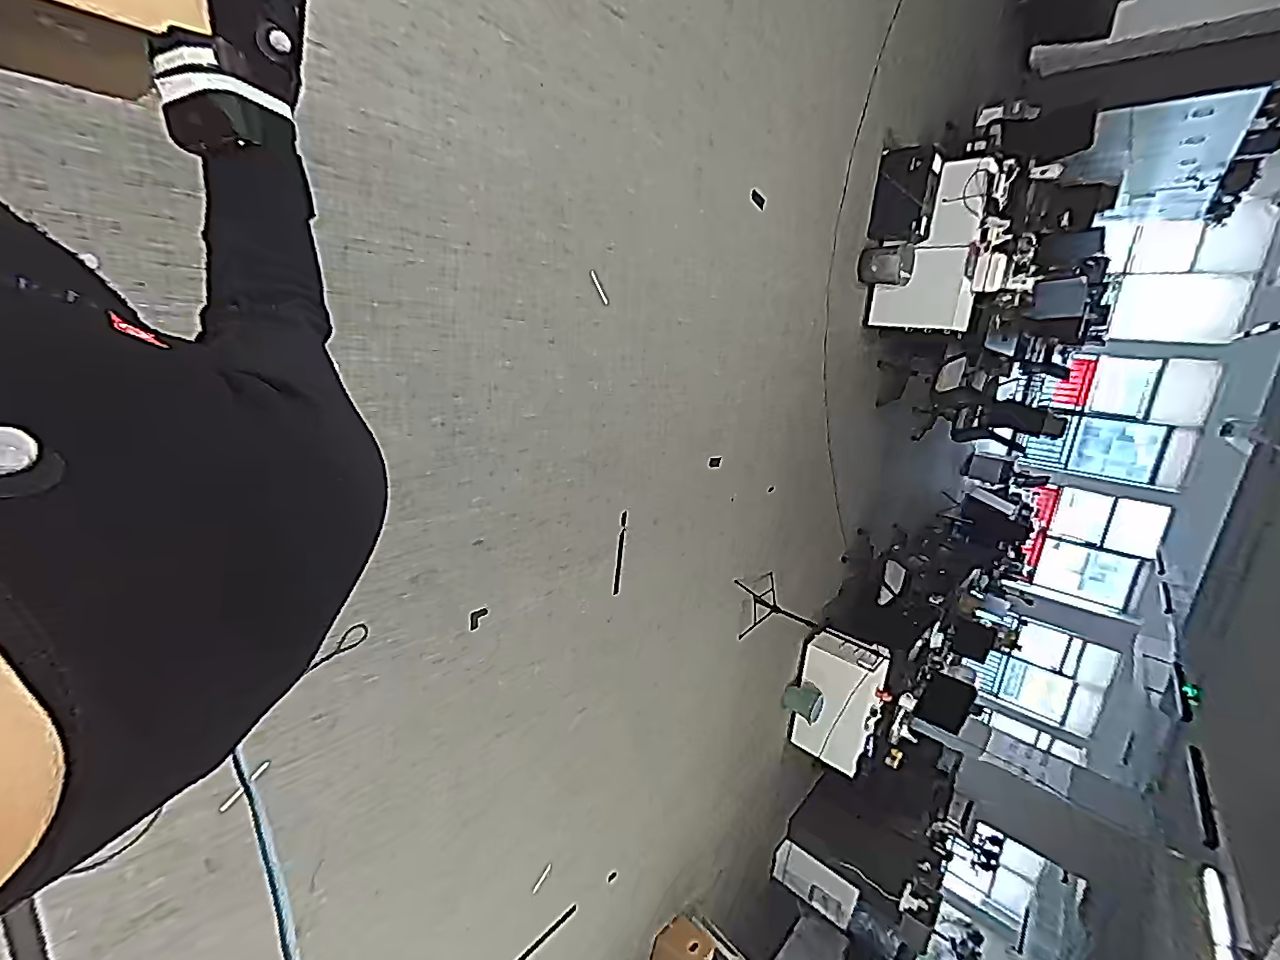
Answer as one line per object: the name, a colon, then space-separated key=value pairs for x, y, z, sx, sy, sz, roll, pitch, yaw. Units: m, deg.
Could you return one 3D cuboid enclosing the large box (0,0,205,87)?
large box: x=-0.538 y=-0.464 z=0.281 sx=0.408 sy=0.320 sz=0.320 roll=-16 pitch=121 yaw=-47
